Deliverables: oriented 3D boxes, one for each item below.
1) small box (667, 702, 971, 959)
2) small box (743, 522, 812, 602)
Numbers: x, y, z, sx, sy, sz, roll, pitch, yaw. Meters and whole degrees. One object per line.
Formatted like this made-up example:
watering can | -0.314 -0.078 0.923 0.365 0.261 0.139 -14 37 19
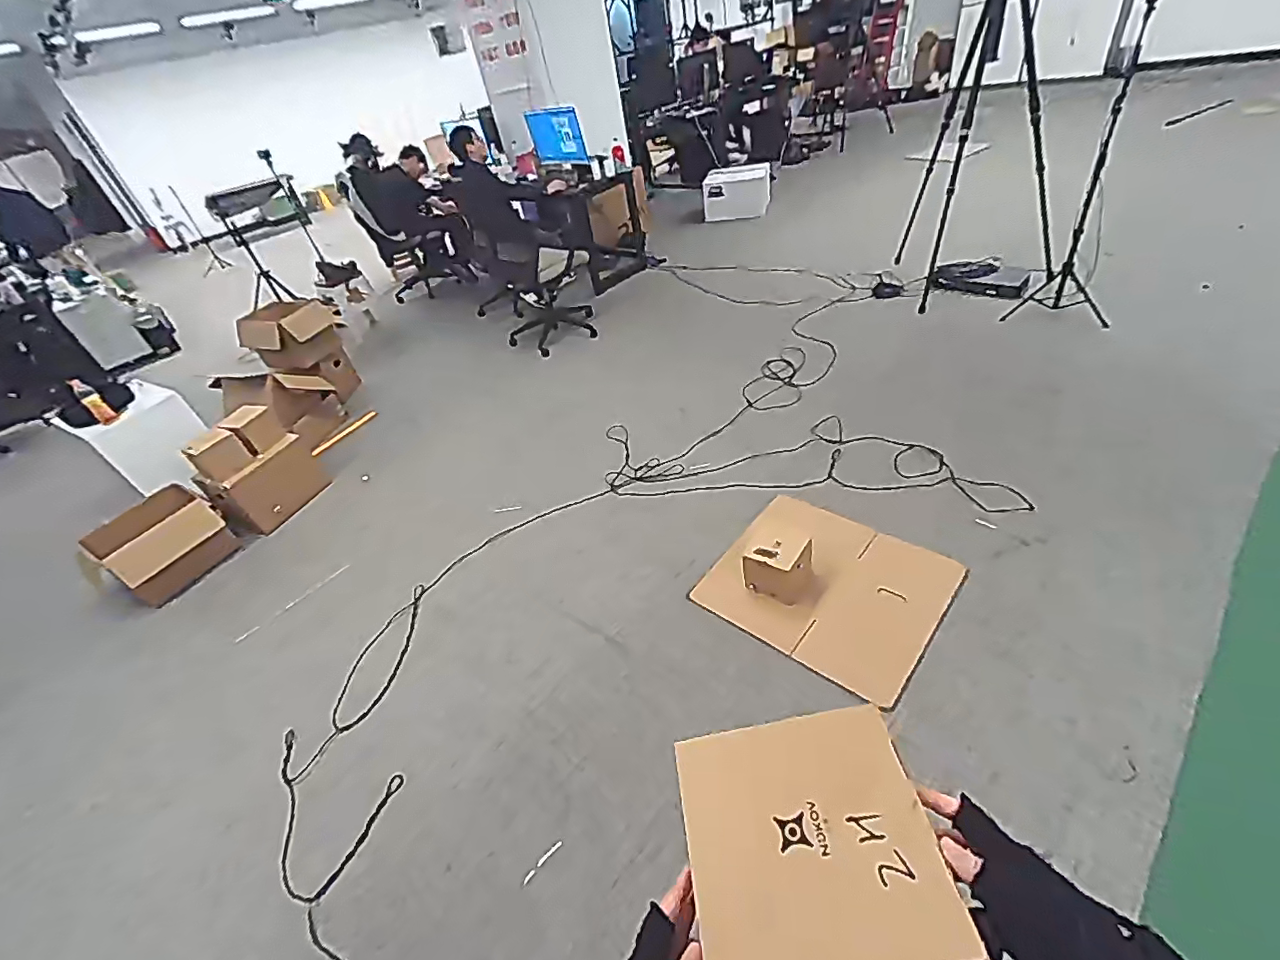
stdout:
small box | 0.131 0.313 0.443 0.179 0.176 0.168 -13 39 4
small box | 0.462 0.274 1.796 0.168 0.176 0.179 19 49 35
